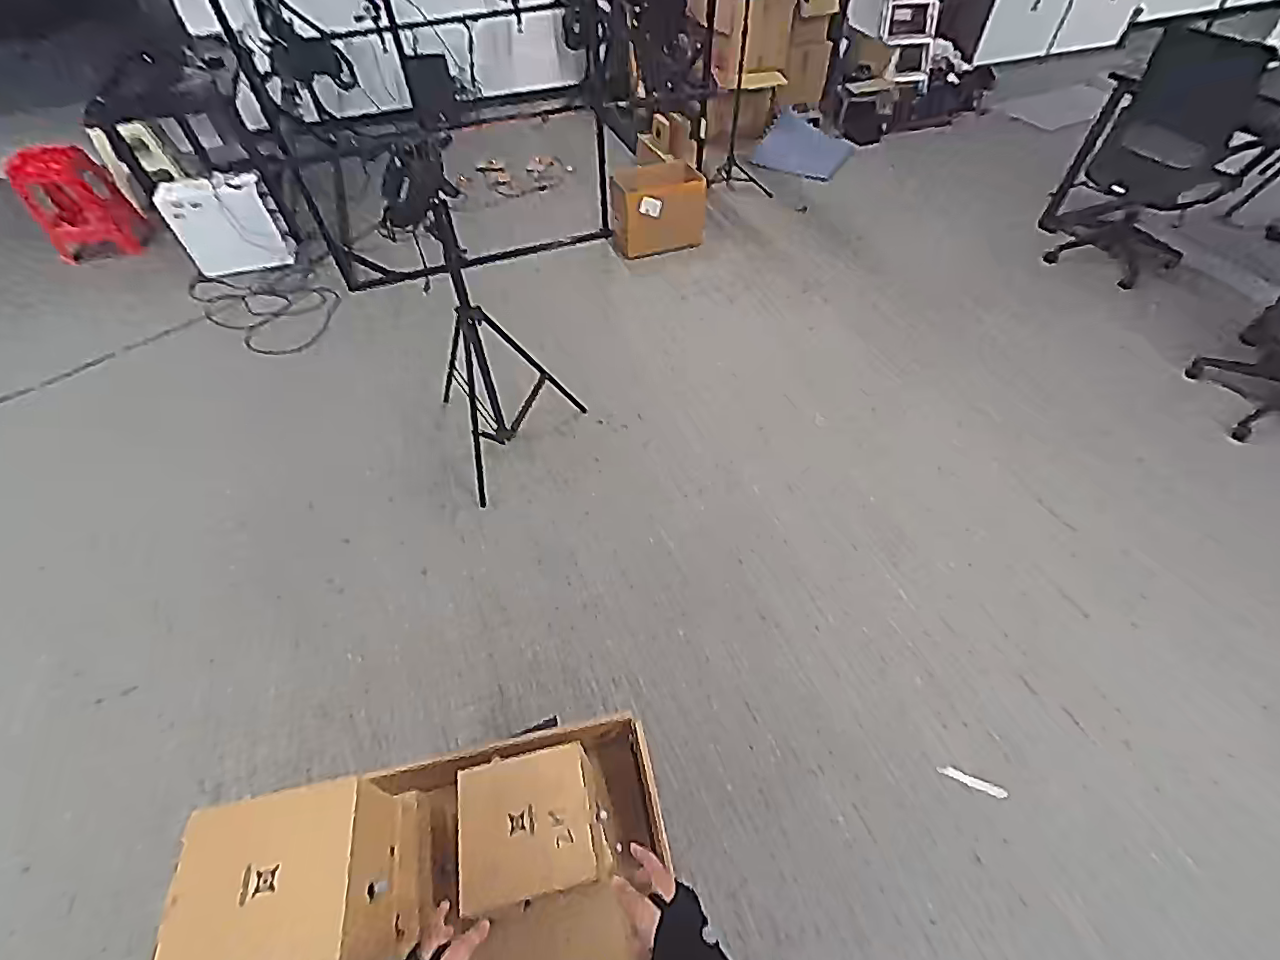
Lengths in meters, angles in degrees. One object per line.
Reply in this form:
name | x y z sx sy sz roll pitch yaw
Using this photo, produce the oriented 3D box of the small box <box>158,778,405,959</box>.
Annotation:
small box | -0.380 0.459 0.609 0.179 0.176 0.168 -9 51 -8
